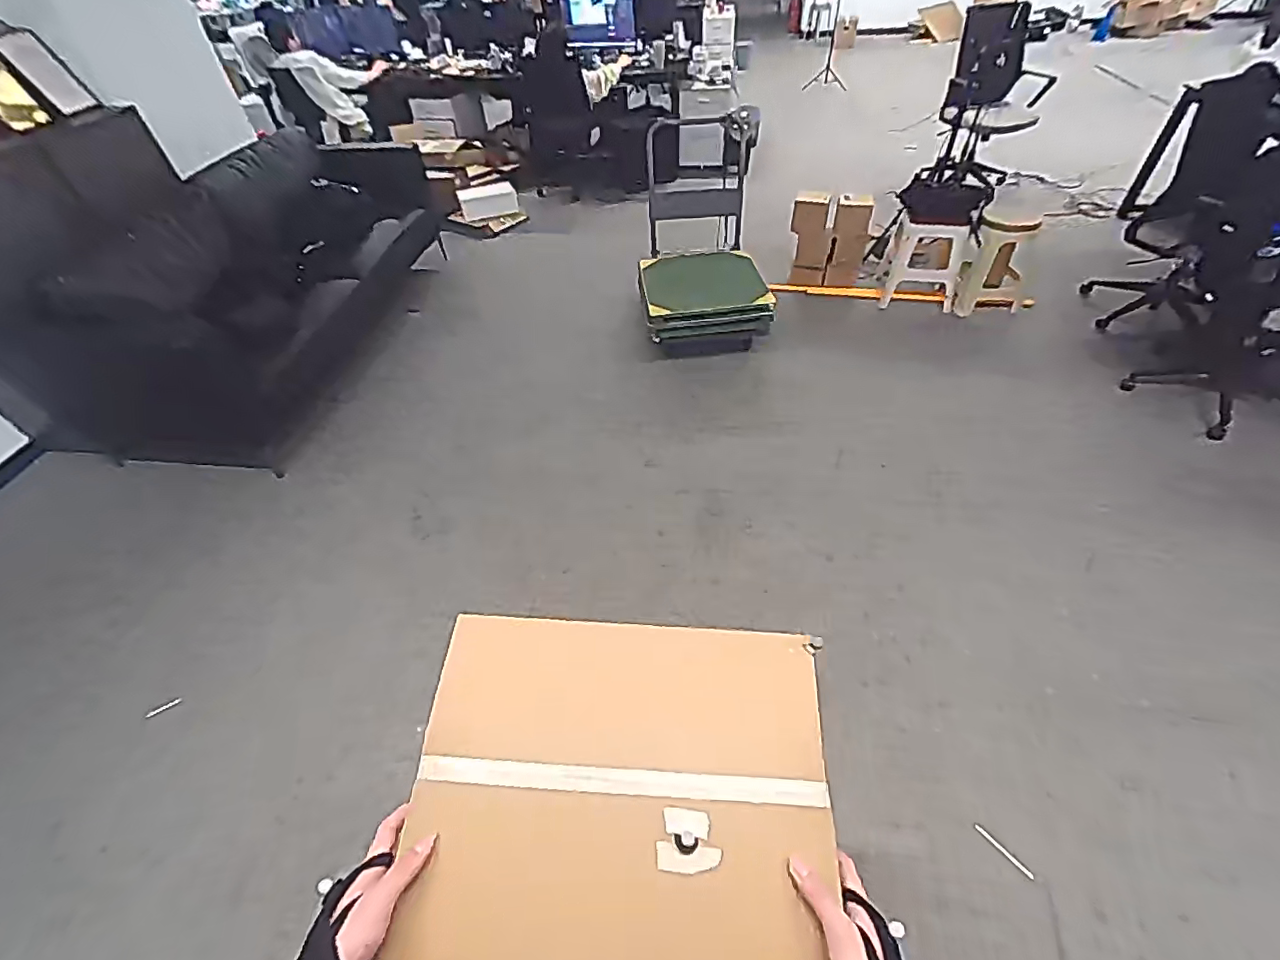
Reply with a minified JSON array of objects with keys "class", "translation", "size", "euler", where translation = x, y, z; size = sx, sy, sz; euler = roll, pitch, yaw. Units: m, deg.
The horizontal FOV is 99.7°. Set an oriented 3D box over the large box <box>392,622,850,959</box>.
[{"class":"large box","translation":[-0.013,0.381,0.664],"size":[0.408,0.320,0.320],"euler":[2,58,2]}]
